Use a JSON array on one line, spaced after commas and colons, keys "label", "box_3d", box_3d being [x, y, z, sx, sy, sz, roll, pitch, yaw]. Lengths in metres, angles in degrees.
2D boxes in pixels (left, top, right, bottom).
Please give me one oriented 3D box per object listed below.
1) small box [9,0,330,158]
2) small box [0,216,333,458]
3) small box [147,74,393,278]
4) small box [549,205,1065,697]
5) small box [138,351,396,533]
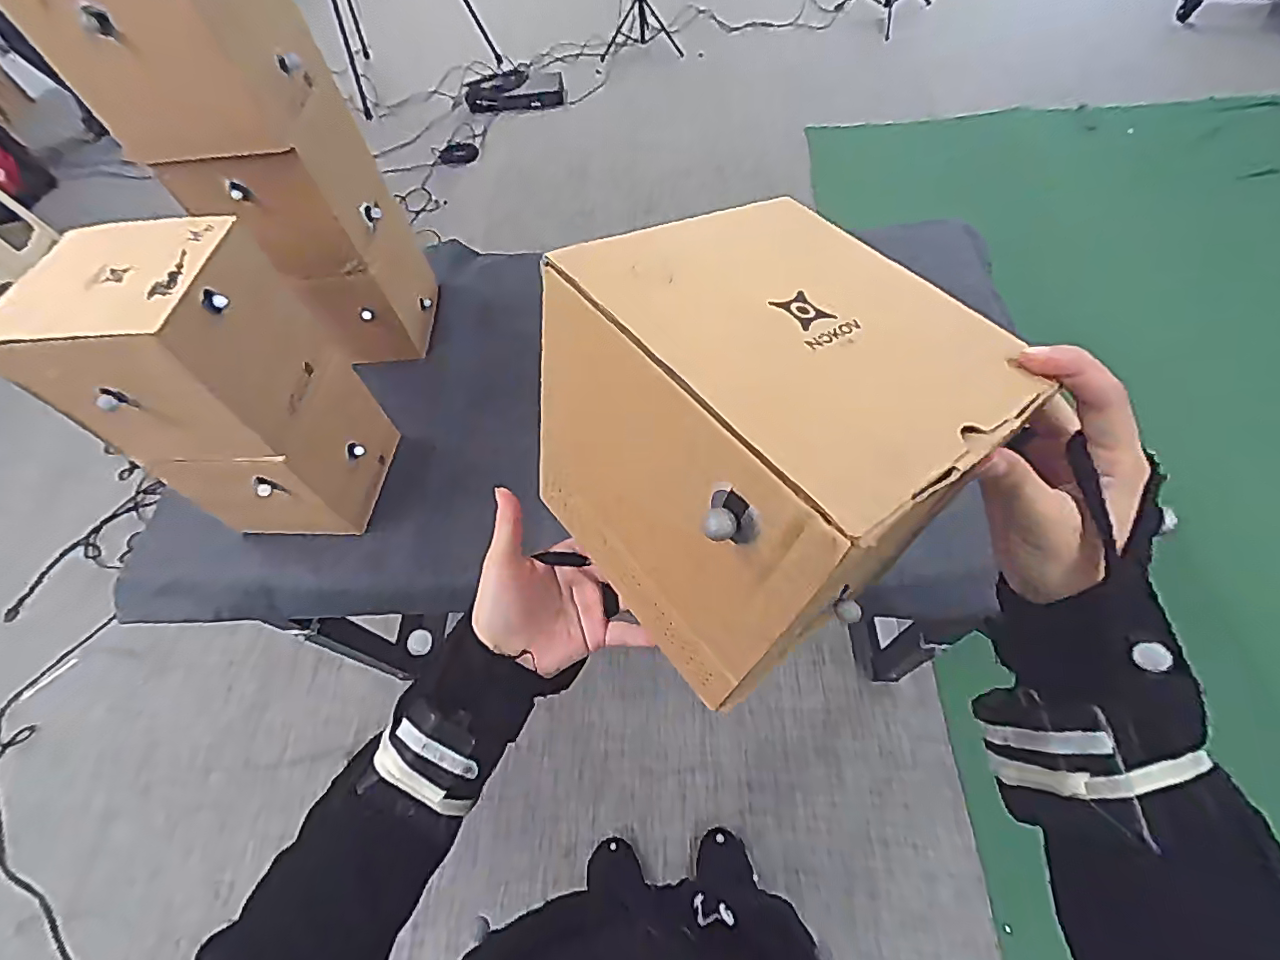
[{"label": "small box", "box_3d": [-0.461, -0.453, 0.547, 0.179, 0.176, 0.168, -2, 61, 3]}, {"label": "small box", "box_3d": [-0.457, -0.134, 0.543, 0.179, 0.176, 0.168, -3, 57, 4]}, {"label": "small box", "box_3d": [-0.451, -0.380, 0.694, 0.179, 0.176, 0.168, -4, 61, 2]}, {"label": "small box", "box_3d": [0.061, -0.019, 0.296, 0.168, 0.176, 0.179, -28, 62, -30]}, {"label": "small box", "box_3d": [-0.440, -0.043, 0.678, 0.179, 0.176, 0.168, 0, 57, 6]}]
